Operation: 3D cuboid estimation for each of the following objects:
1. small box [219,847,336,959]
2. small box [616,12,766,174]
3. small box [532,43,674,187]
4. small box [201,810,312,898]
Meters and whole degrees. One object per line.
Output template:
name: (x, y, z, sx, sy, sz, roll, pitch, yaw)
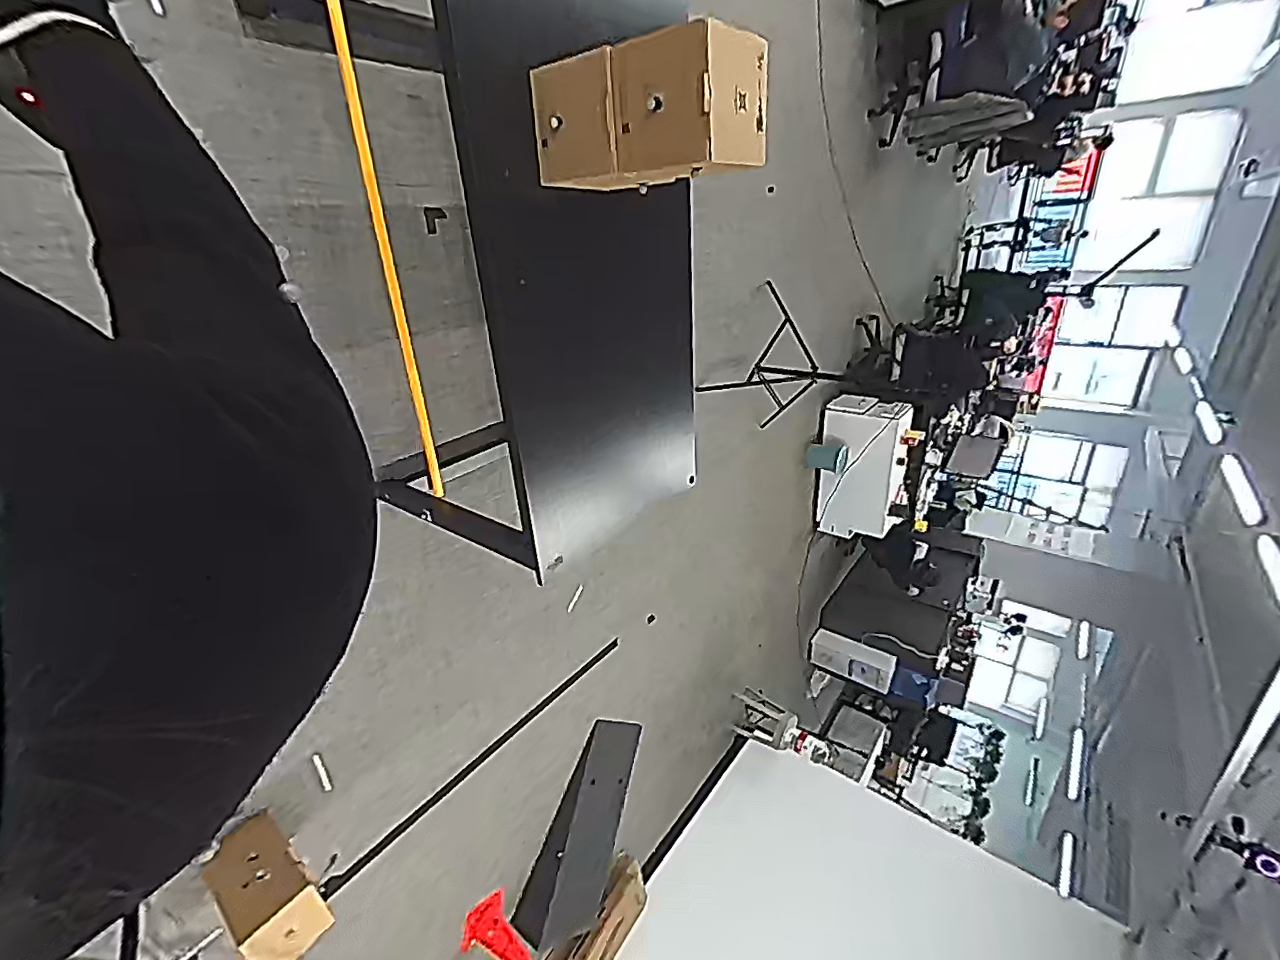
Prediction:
small box: (-0.908, 1.078, 1.359, 0.168, 0.176, 0.179, -35, 127, -43)
small box: (0.076, -0.571, 0.826, 0.179, 0.176, 0.168, -31, 126, -43)
small box: (-0.058, -0.601, 0.916, 0.179, 0.176, 0.168, -28, 124, -45)
small box: (-1.032, 1.044, 1.458, 0.179, 0.176, 0.168, -31, 125, -43)
